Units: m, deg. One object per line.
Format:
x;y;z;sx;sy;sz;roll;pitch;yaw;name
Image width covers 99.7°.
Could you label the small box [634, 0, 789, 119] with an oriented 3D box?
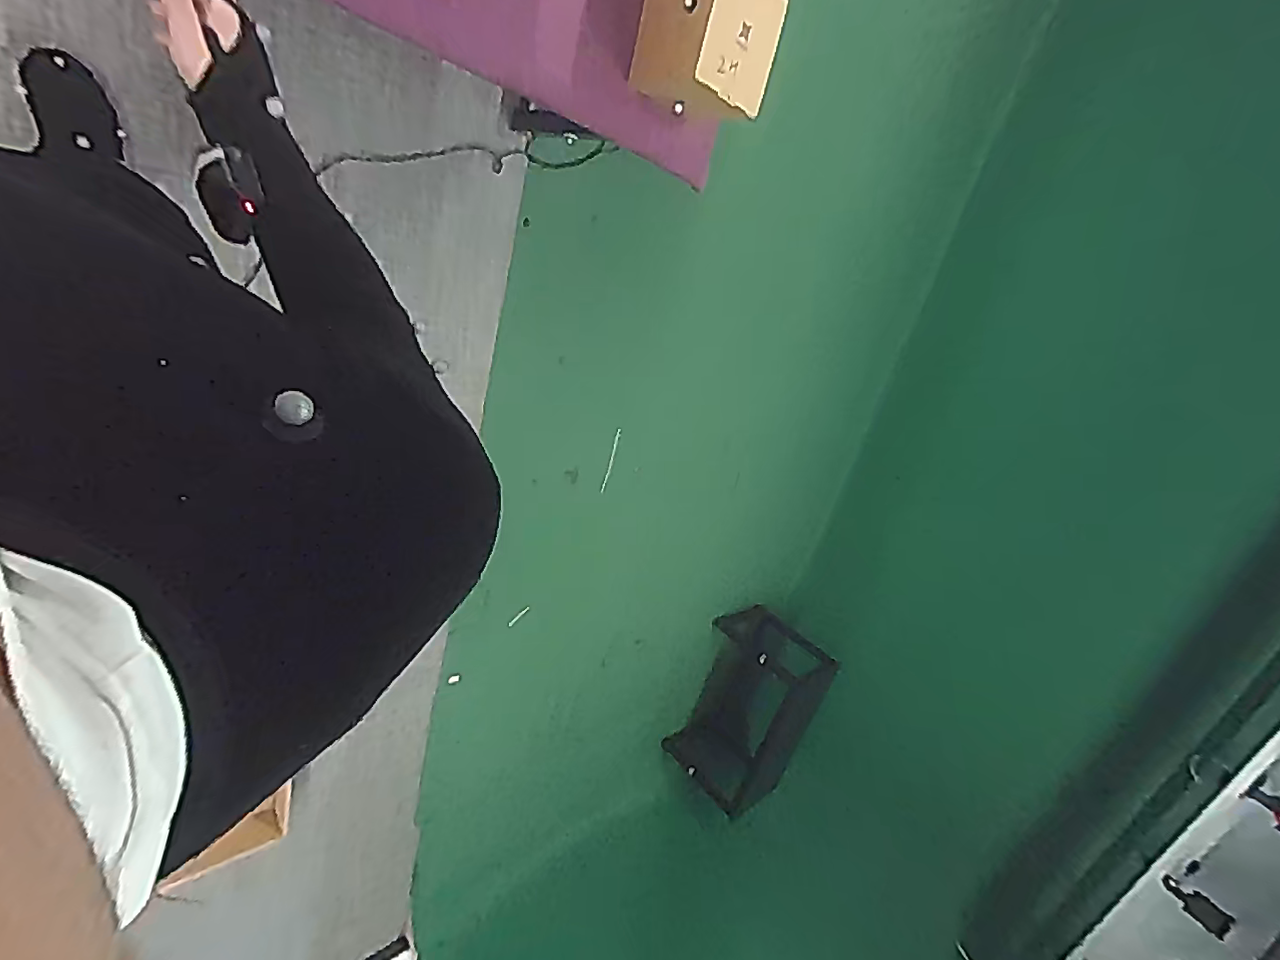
0.113;-0.736;0.906;0.168;0.176;0.179;-3;118;-43;small box
